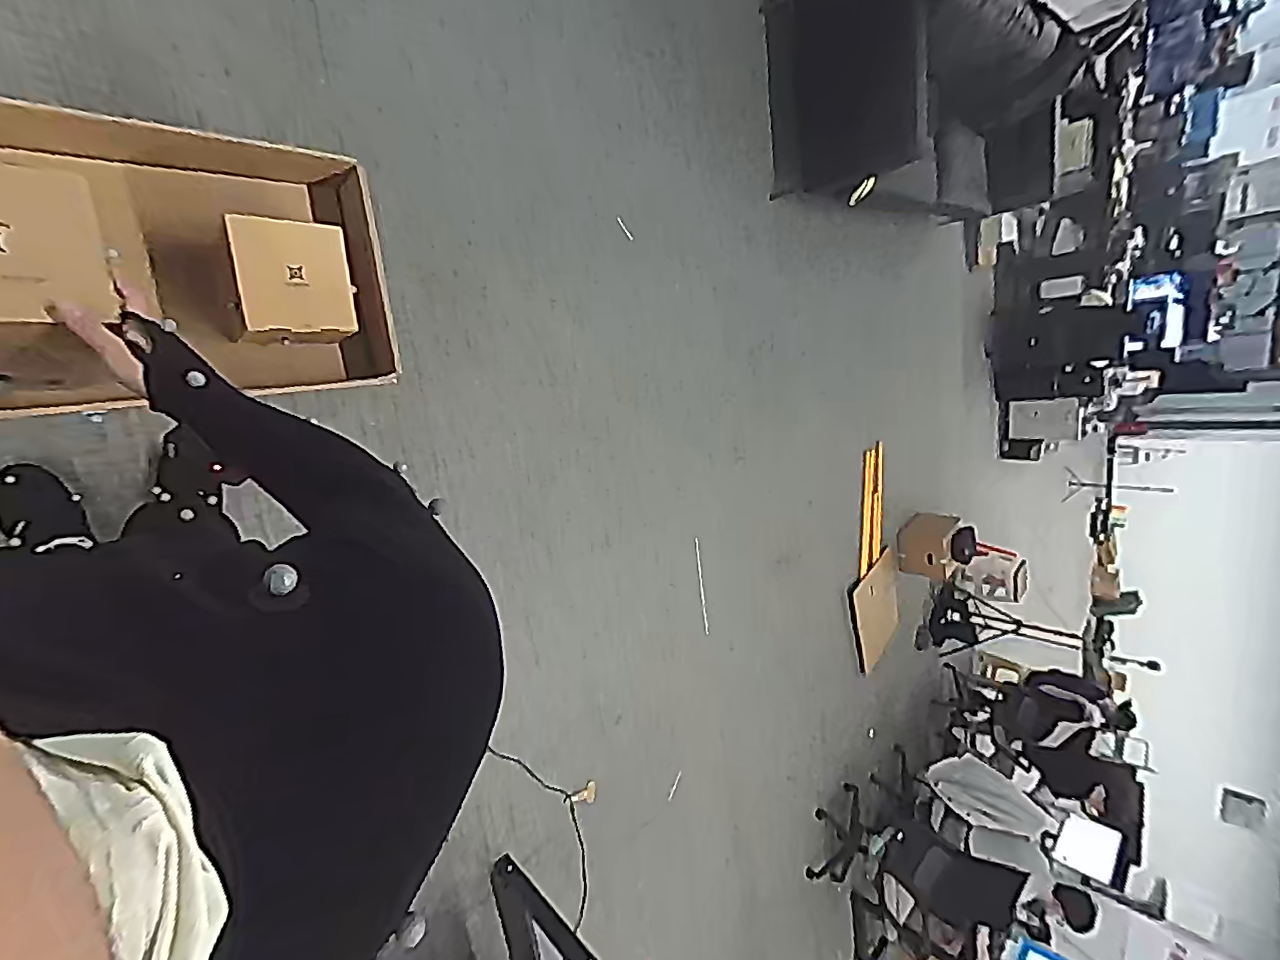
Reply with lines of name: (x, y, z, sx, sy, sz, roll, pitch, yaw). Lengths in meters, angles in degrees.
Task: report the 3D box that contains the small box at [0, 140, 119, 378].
small box: (-0.658, -0.217, 0.547, 0.168, 0.176, 0.179, -13, 83, -45)
